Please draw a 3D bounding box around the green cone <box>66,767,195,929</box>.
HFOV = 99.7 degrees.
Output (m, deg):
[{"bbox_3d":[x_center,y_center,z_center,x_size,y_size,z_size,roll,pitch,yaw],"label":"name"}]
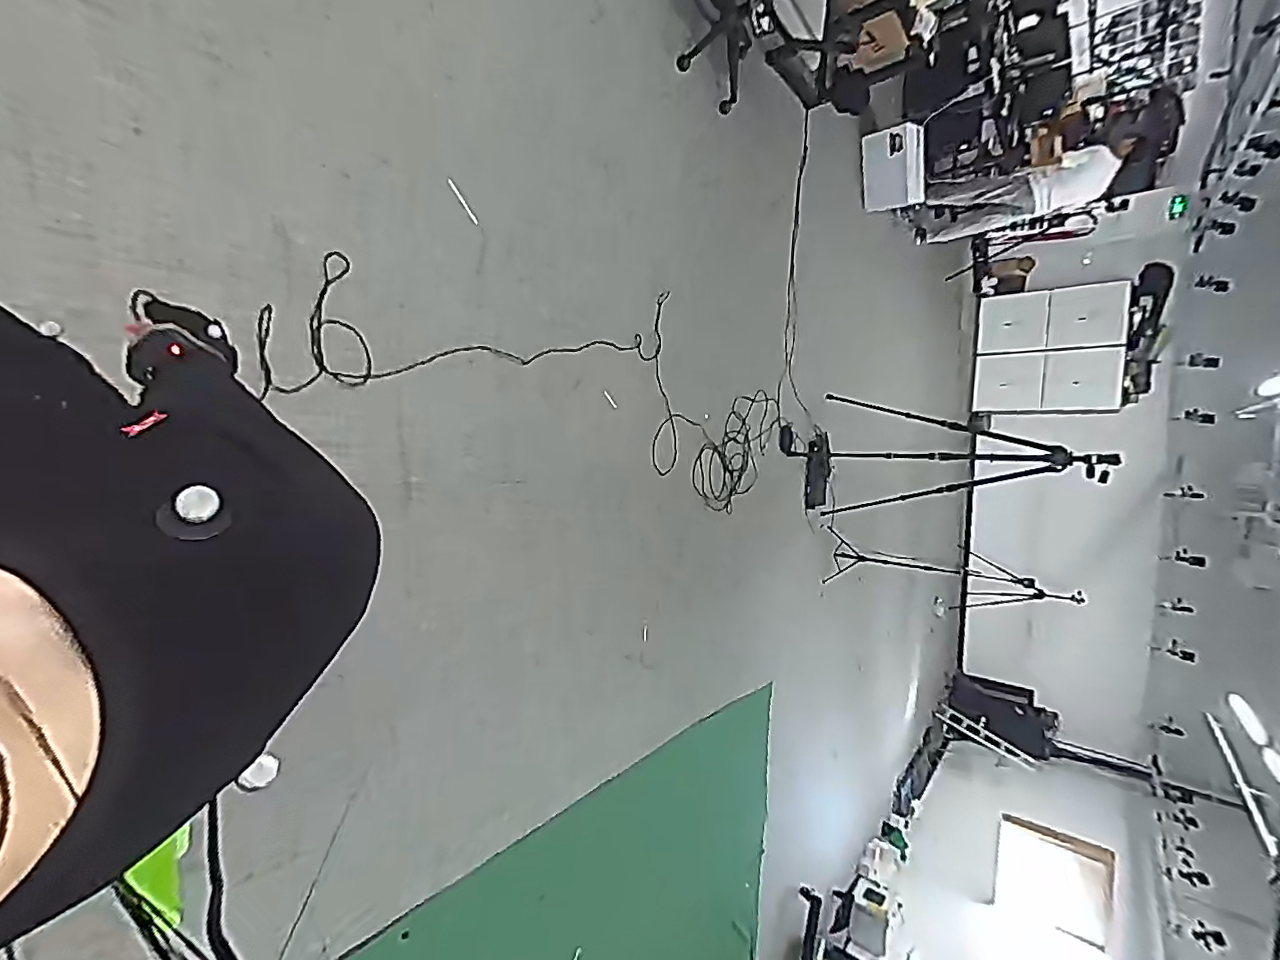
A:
[{"bbox_3d":[-0.954,0.755,1.054,0.200,0.368,0.202,2,91,-51],"label":"green cone"}]
